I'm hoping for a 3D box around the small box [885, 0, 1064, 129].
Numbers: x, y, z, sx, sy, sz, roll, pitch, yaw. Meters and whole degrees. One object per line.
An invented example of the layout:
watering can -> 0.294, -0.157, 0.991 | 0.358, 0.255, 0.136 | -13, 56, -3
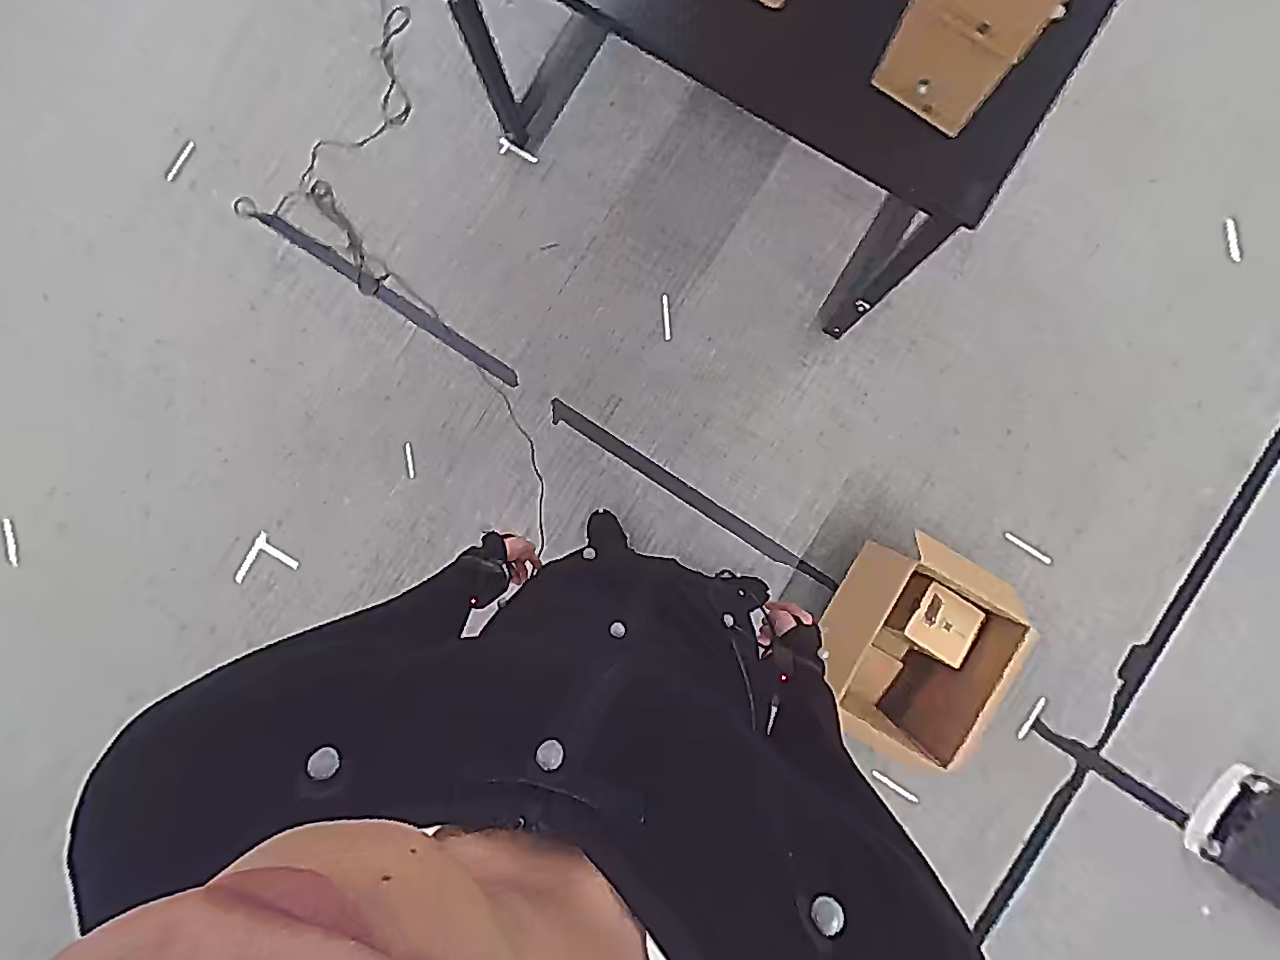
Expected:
small box -> 0.506, -0.689, 0.811 | 0.168, 0.176, 0.179 | 37, 90, 4
